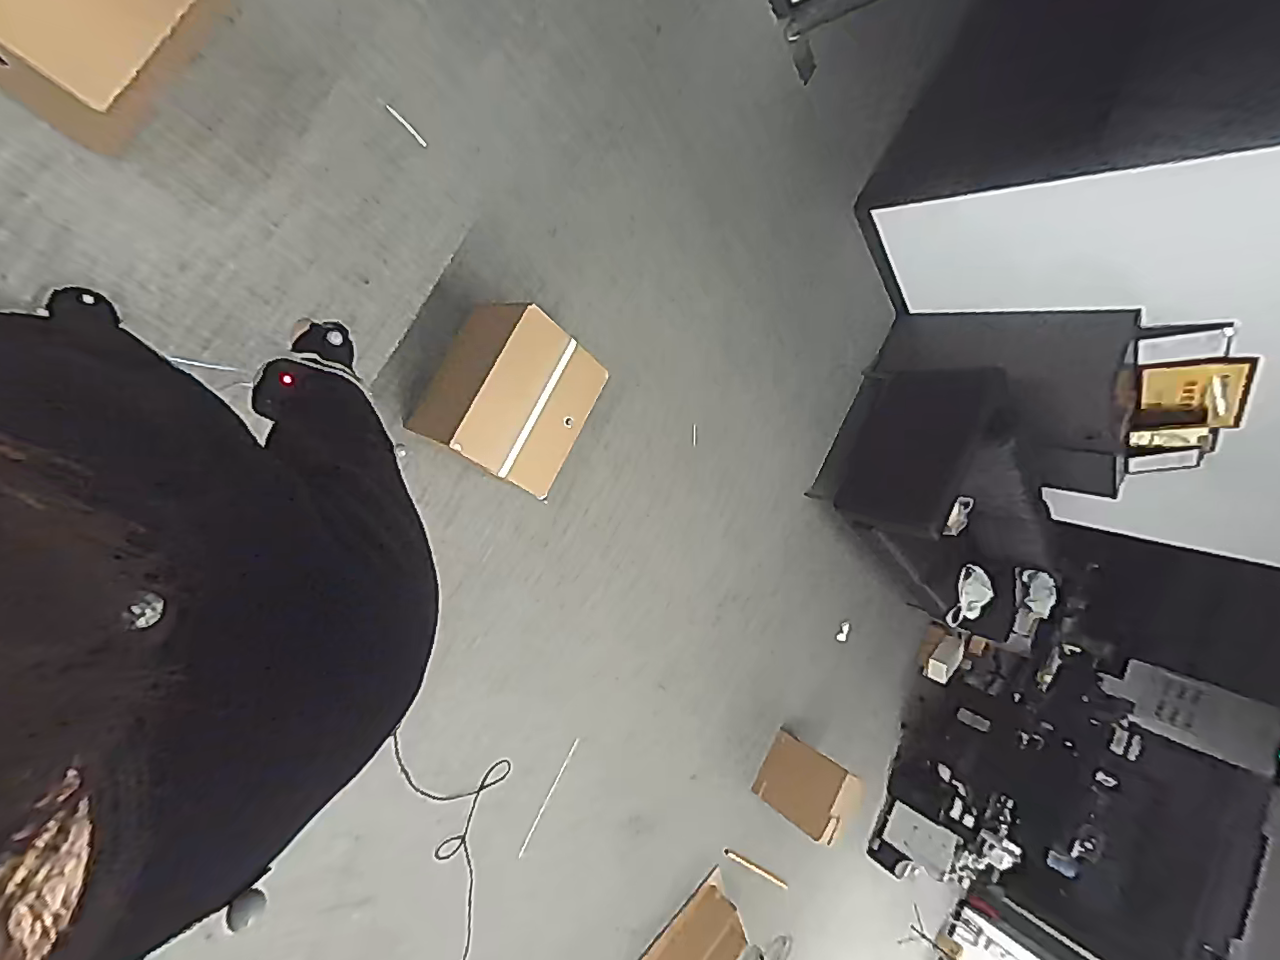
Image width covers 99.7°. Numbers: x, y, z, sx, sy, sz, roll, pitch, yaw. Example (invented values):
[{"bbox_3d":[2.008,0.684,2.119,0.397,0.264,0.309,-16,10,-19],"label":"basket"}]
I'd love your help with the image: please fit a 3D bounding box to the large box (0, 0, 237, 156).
[{"bbox_3d":[-0.891,-0.814,0.841,0.320,0.320,0.408,36,77,-42],"label":"large box"}]
